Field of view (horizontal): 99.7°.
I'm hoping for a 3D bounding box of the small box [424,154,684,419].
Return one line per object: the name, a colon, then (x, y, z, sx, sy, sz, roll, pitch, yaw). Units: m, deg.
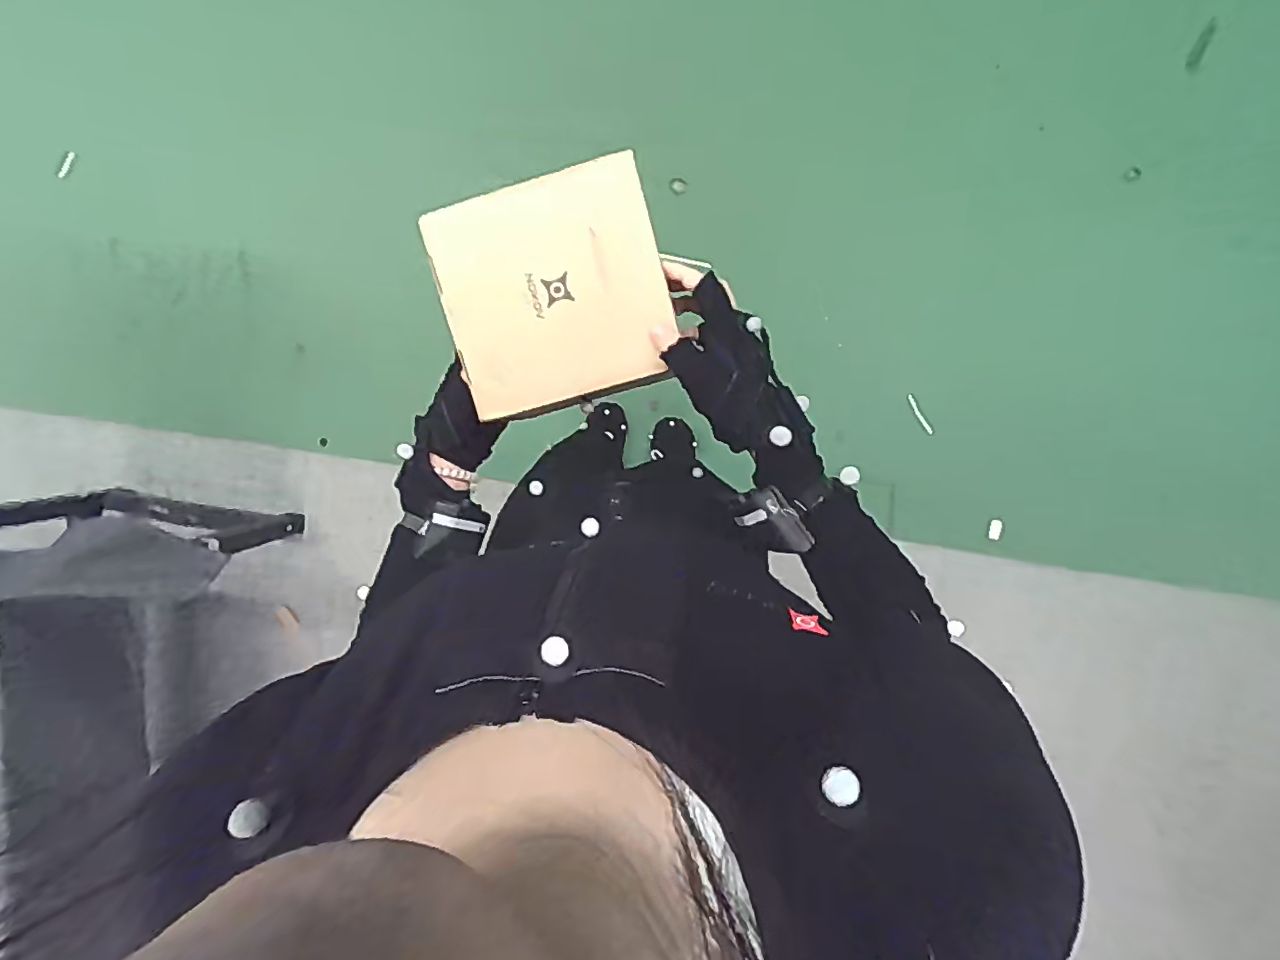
small box: (-0.062, -0.158, 0.503, 0.179, 0.176, 0.168, -15, 98, 6)
